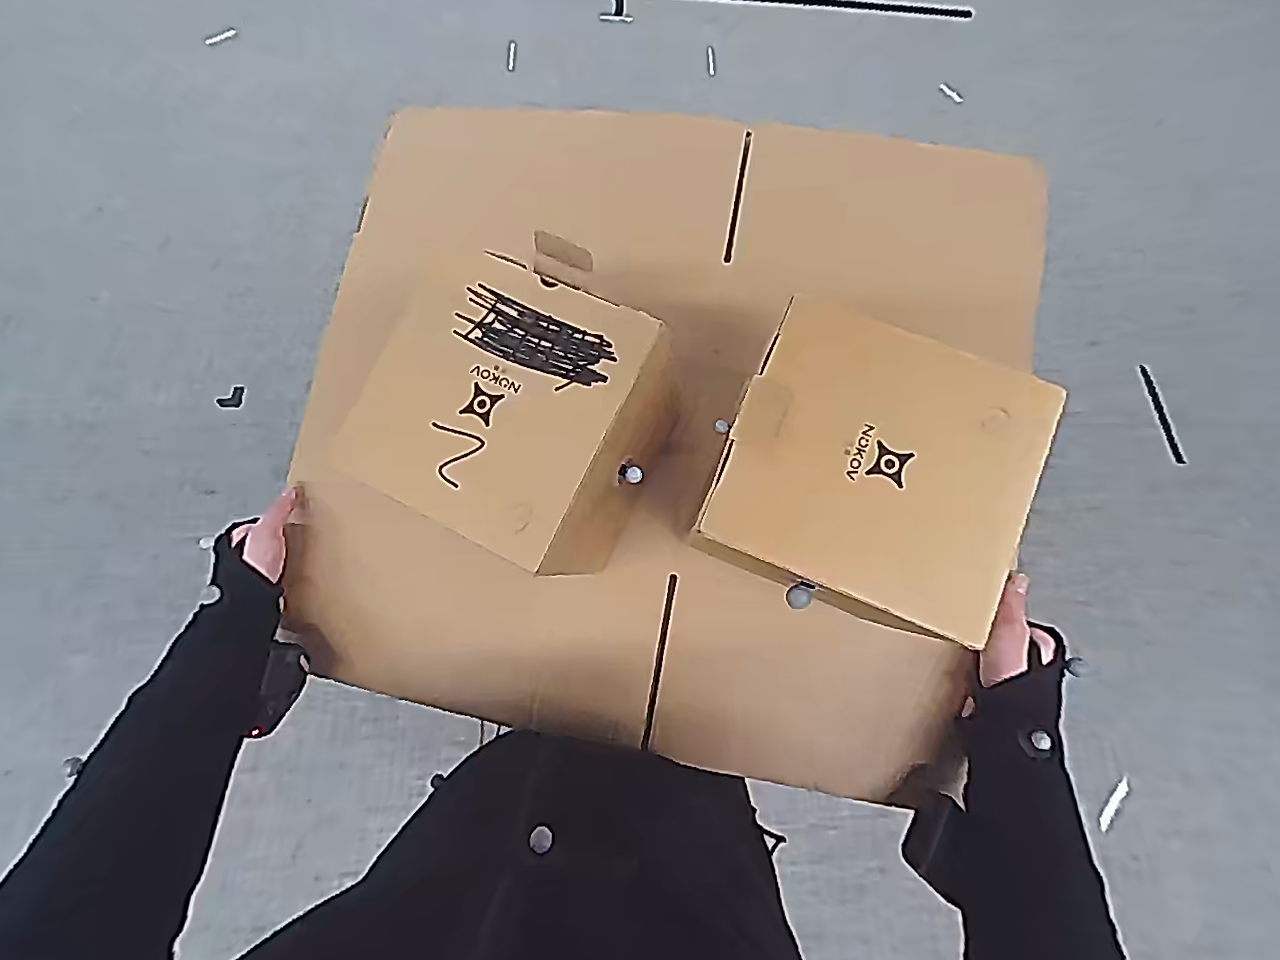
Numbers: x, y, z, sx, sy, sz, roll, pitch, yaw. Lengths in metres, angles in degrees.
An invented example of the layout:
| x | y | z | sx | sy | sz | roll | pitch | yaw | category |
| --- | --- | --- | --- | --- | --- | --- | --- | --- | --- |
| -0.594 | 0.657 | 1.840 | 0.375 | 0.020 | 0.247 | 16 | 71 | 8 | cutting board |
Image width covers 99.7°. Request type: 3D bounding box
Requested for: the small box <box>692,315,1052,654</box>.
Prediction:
| x | y | z | sx | sy | sz | roll | pitch | yaw | category |
| --- | --- | --- | --- | --- | --- | --- | --- | --- | --- |
| 0.150 | 0.008 | 0.413 | 0.179 | 0.176 | 0.168 | 22 | 83 | 6 | small box |
